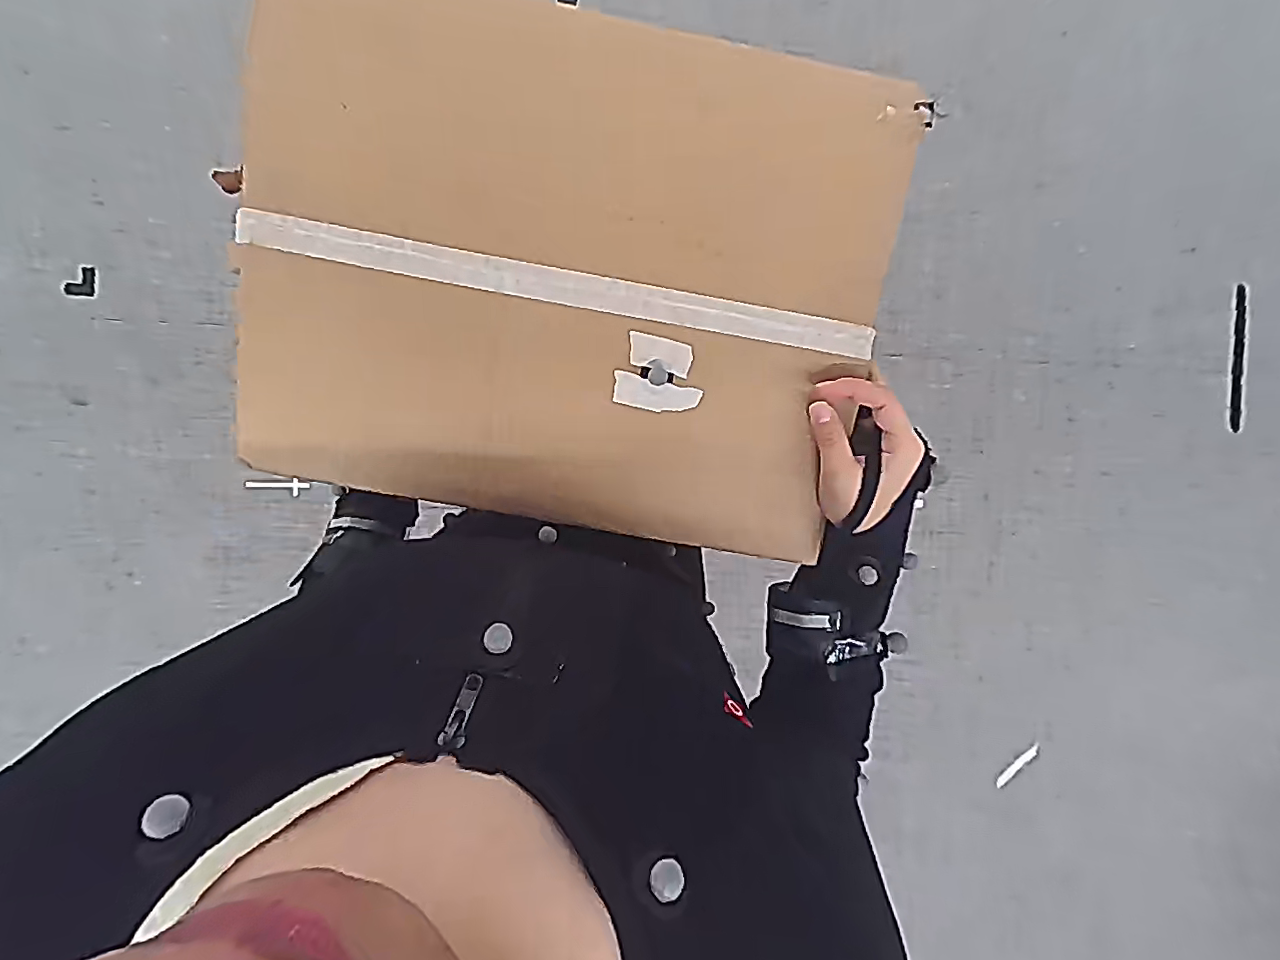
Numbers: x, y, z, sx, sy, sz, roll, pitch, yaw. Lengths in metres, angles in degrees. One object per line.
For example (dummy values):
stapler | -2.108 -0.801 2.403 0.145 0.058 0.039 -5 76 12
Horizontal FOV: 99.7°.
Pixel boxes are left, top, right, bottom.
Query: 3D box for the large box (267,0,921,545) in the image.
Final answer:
large box | -0.045 -0.154 0.504 0.408 0.320 0.320 9 101 -4
